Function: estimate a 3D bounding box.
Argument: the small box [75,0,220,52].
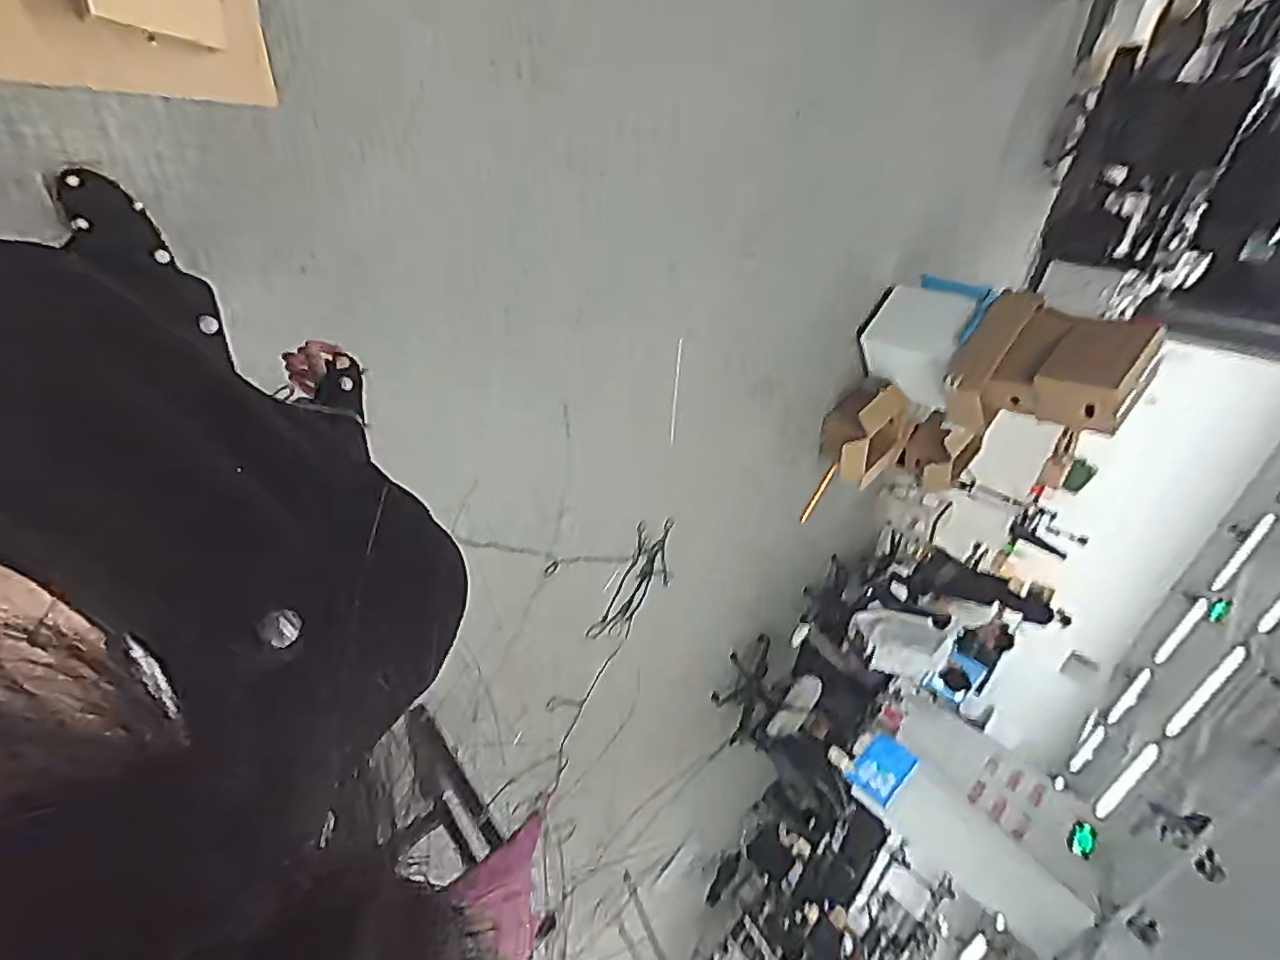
[{"bbox_3d":[-0.786,-0.804,0.848,0.168,0.176,0.179,-15,125,-42],"label":"small box"}]

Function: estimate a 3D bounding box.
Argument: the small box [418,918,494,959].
[{"bbox_3d":[-0.486,1.348,1.461,0.168,0.176,0.179,-22,129,-37],"label":"small box"}]
